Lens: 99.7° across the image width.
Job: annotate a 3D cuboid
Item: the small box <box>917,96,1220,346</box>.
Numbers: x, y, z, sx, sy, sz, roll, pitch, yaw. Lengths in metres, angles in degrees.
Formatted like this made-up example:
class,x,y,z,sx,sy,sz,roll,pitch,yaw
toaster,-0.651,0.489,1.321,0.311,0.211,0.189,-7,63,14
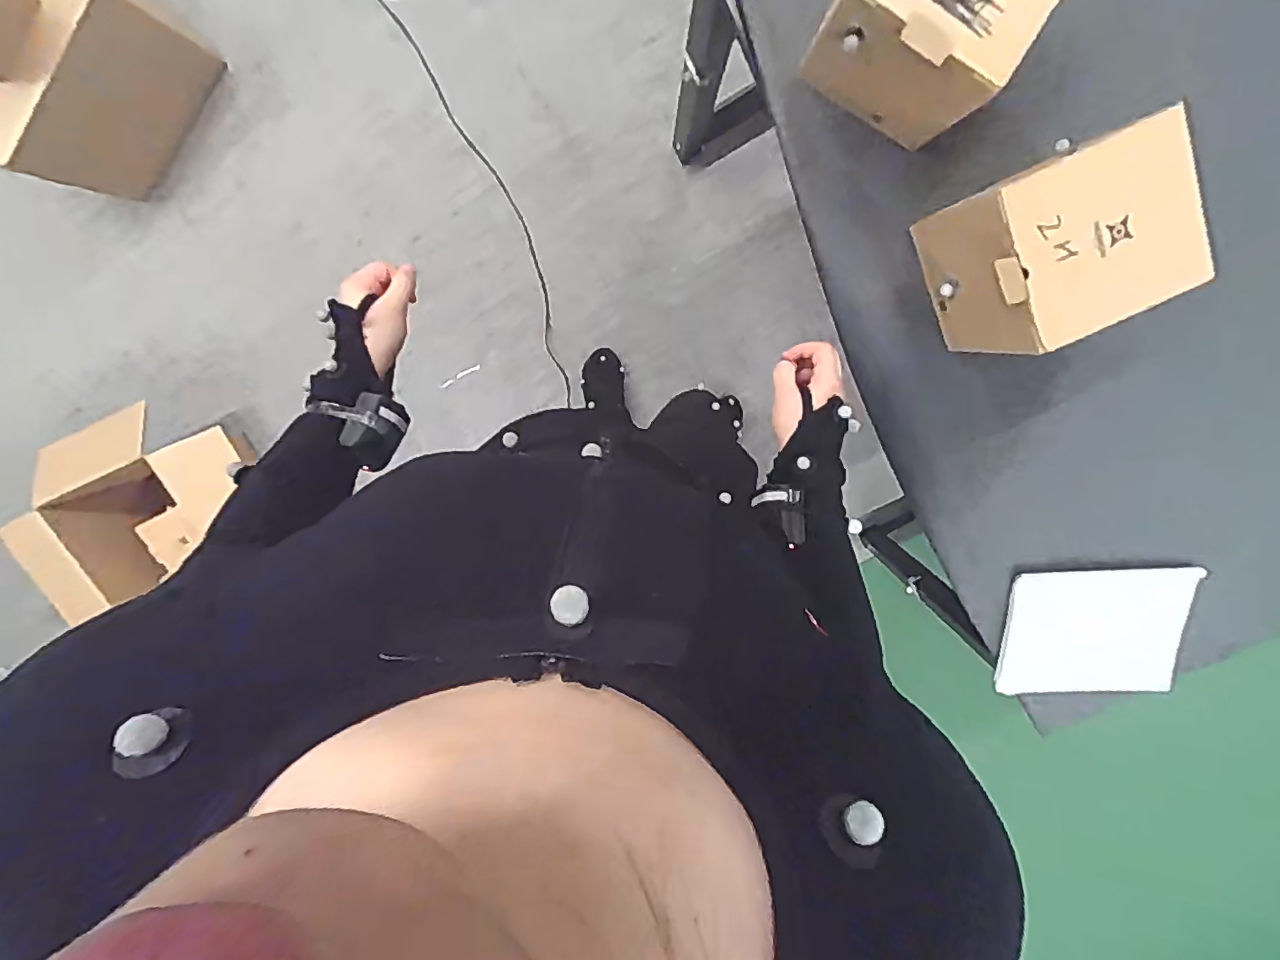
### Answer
class,x,y,z,sx,sy,sz,roll,pitch,yaw
small box,0.442,-0.258,0.584,0.179,0.176,0.168,-25,102,6
